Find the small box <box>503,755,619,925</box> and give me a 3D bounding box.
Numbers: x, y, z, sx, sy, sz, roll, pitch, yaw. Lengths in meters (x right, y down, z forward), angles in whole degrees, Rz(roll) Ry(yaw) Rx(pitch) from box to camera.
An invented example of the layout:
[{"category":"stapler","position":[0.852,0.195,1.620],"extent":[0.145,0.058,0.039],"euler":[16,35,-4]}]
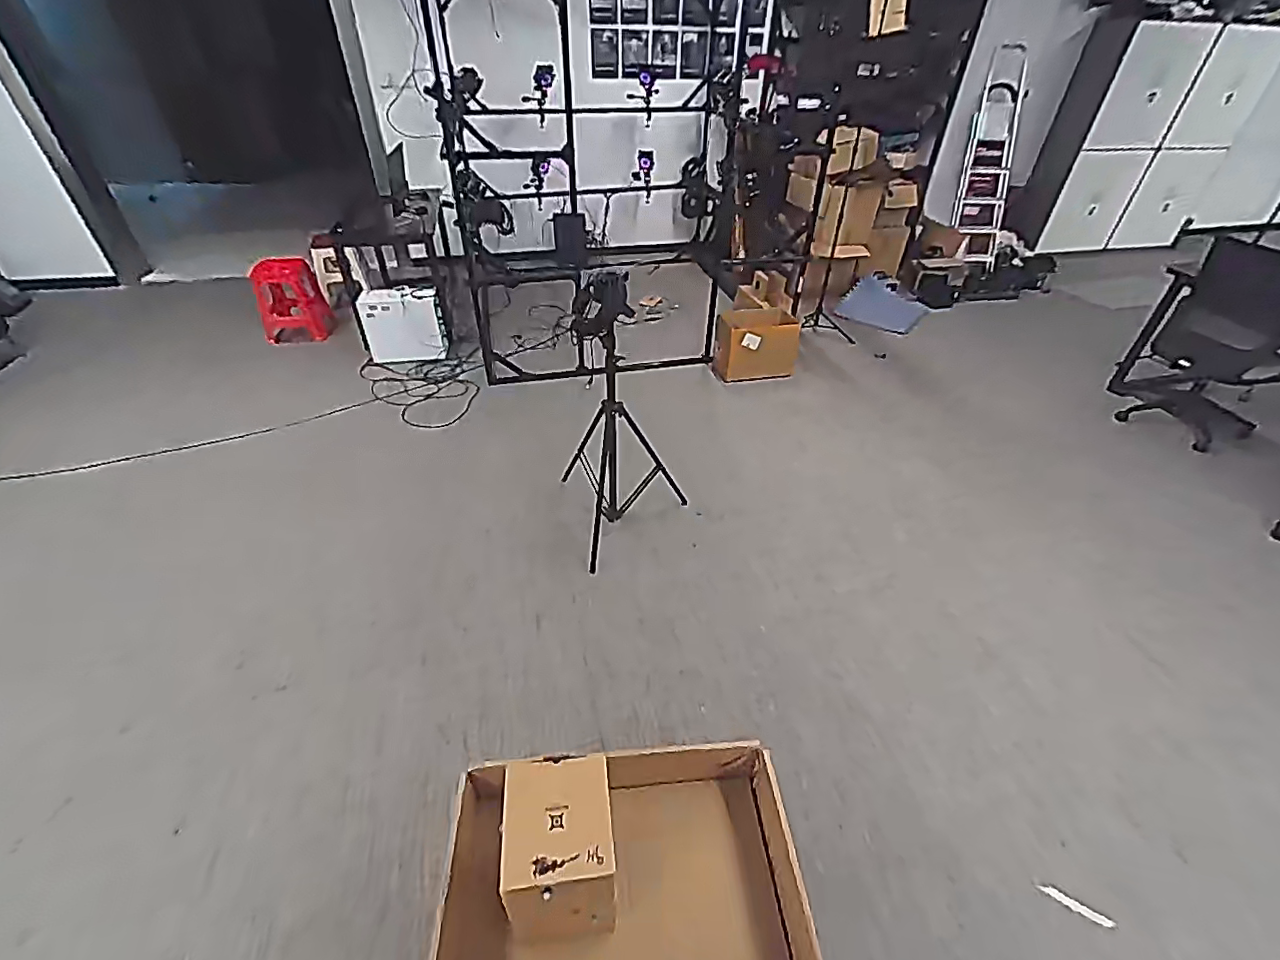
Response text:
[{"category":"small box","position":[-0.125,0.579,0.875],"extent":[0.168,0.176,0.179],"euler":[-3,38,-8]}]
